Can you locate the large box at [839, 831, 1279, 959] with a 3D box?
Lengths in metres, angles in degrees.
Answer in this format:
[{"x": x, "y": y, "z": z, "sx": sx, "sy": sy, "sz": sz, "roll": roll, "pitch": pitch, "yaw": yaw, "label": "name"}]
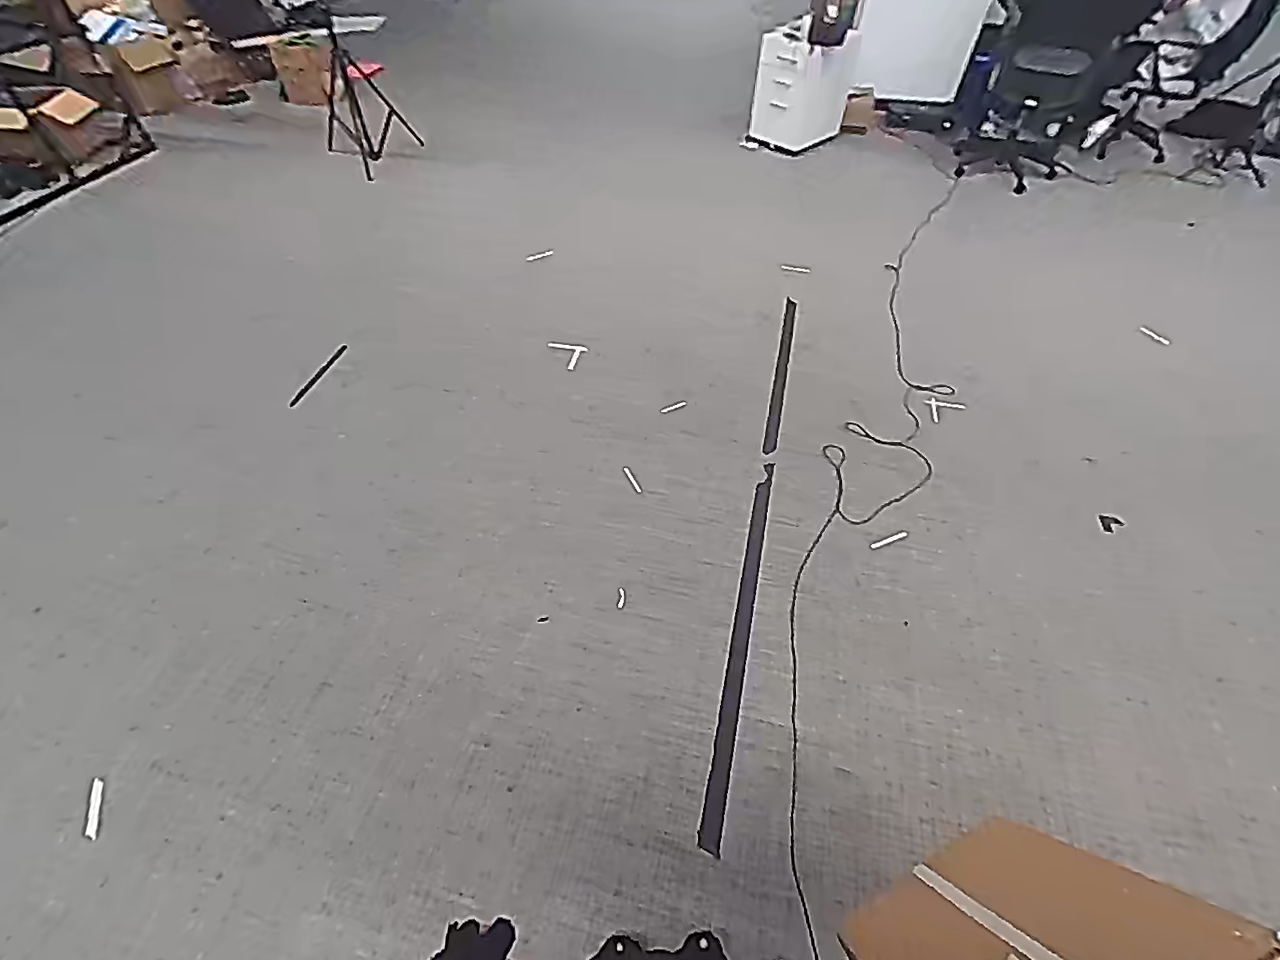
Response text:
[{"x": 0.496, "y": 0.672, "z": 0.588, "sx": 0.320, "sy": 0.408, "sz": 0.320, "roll": -26, "pitch": 75, "yaw": -9, "label": "large box"}]
